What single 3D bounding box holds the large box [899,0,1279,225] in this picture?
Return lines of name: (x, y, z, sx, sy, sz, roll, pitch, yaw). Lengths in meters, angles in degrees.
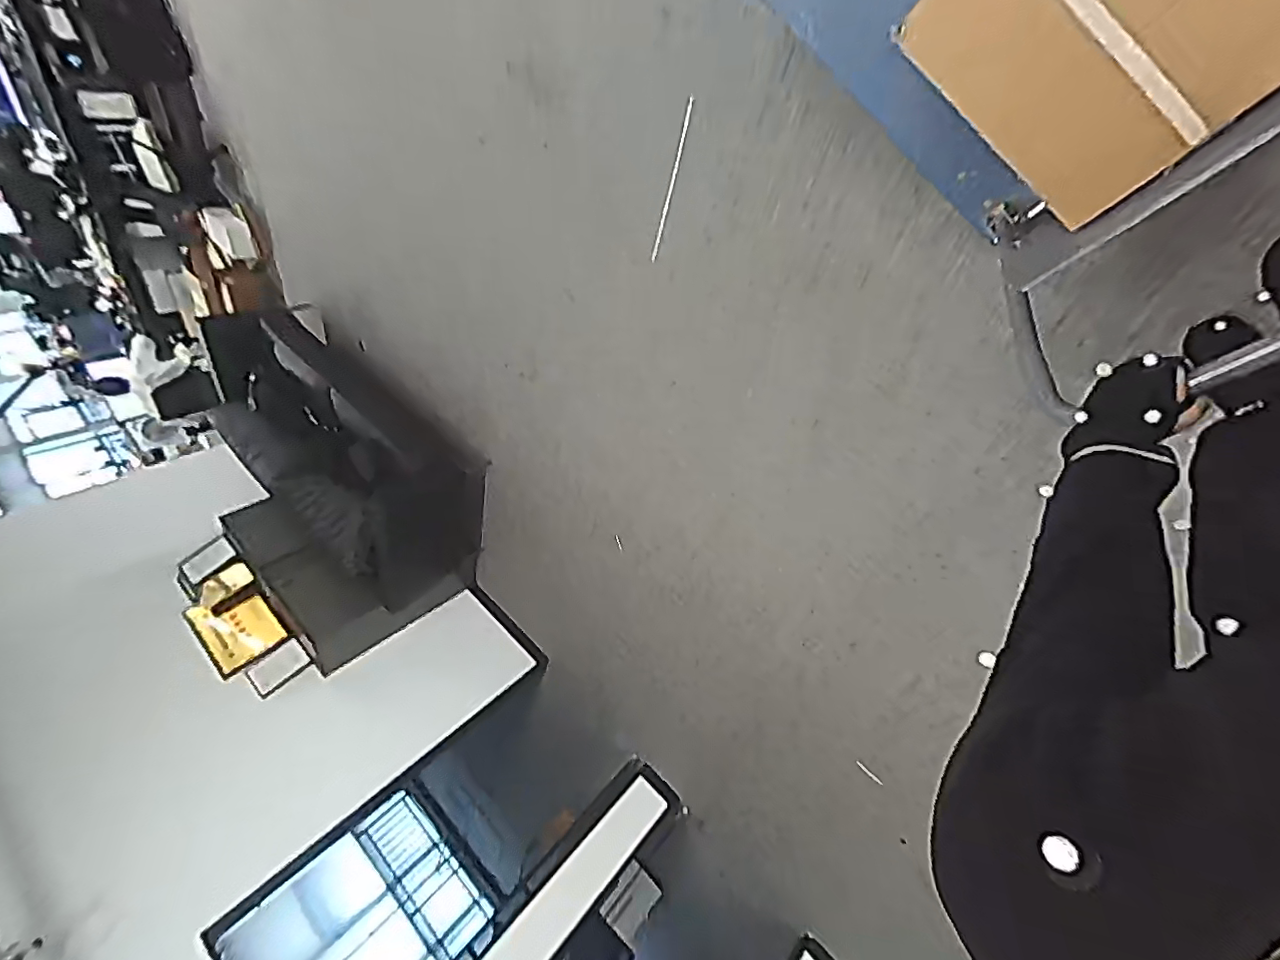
large box: (0.673, -0.682, 0.808, 0.408, 0.320, 0.320, 41, 139, -8)
